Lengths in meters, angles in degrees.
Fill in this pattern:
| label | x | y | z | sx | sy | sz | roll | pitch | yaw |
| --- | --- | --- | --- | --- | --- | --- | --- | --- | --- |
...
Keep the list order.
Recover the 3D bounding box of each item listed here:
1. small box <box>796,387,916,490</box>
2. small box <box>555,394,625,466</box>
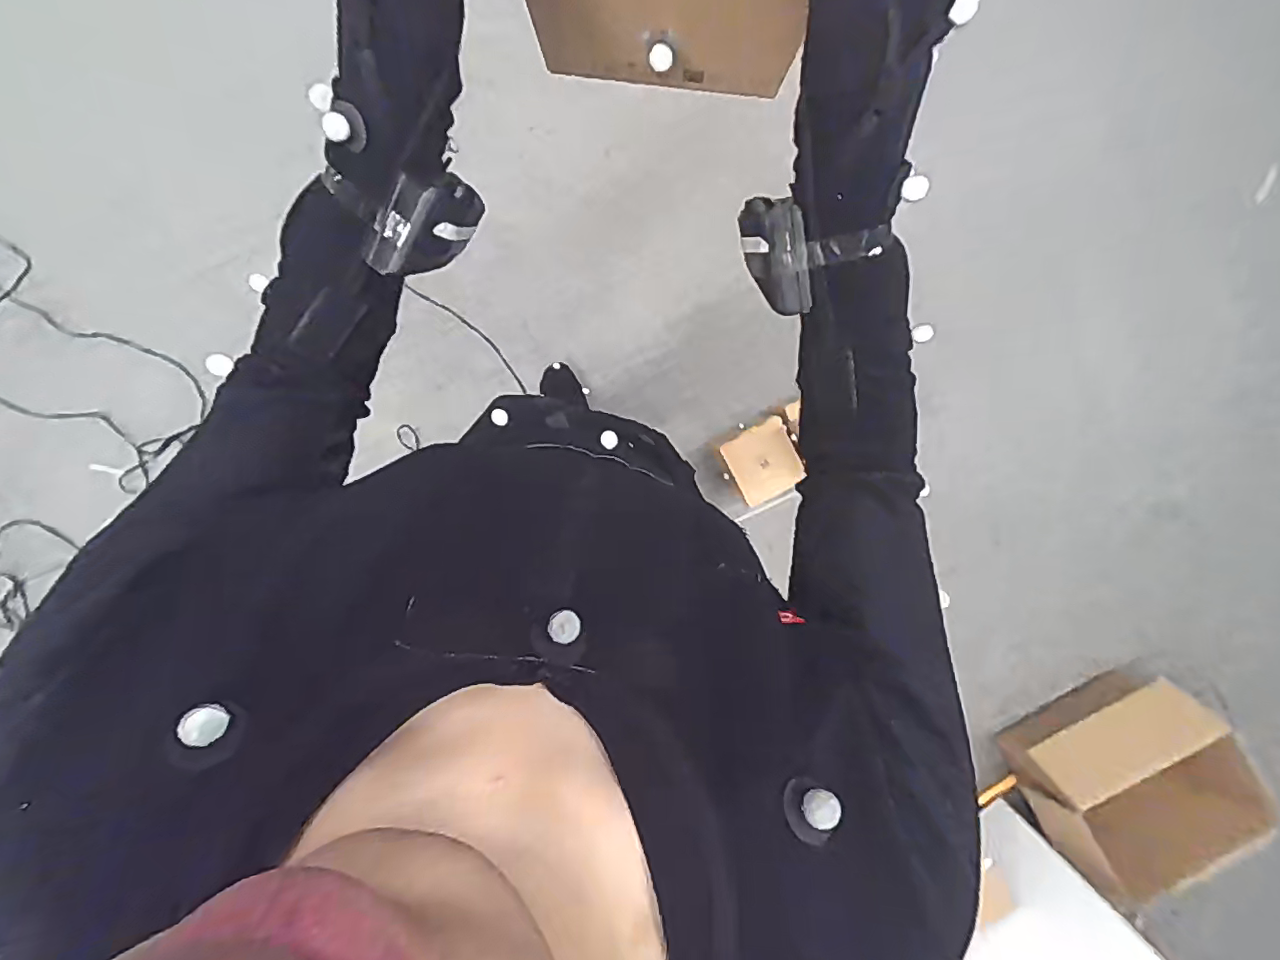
| label | x | y | z | sx | sy | sz | roll | pitch | yaw |
| --- | --- | --- | --- | --- | --- | --- | --- | --- | --- |
| small box | 0.474 | -0.093 | 1.225 | 0.179 | 0.176 | 0.168 | -28 | 97 | 0 |
| small box | -0.132 | -0.133 | 1.402 | 0.168 | 0.176 | 0.179 | -3 | 97 | -11 |
